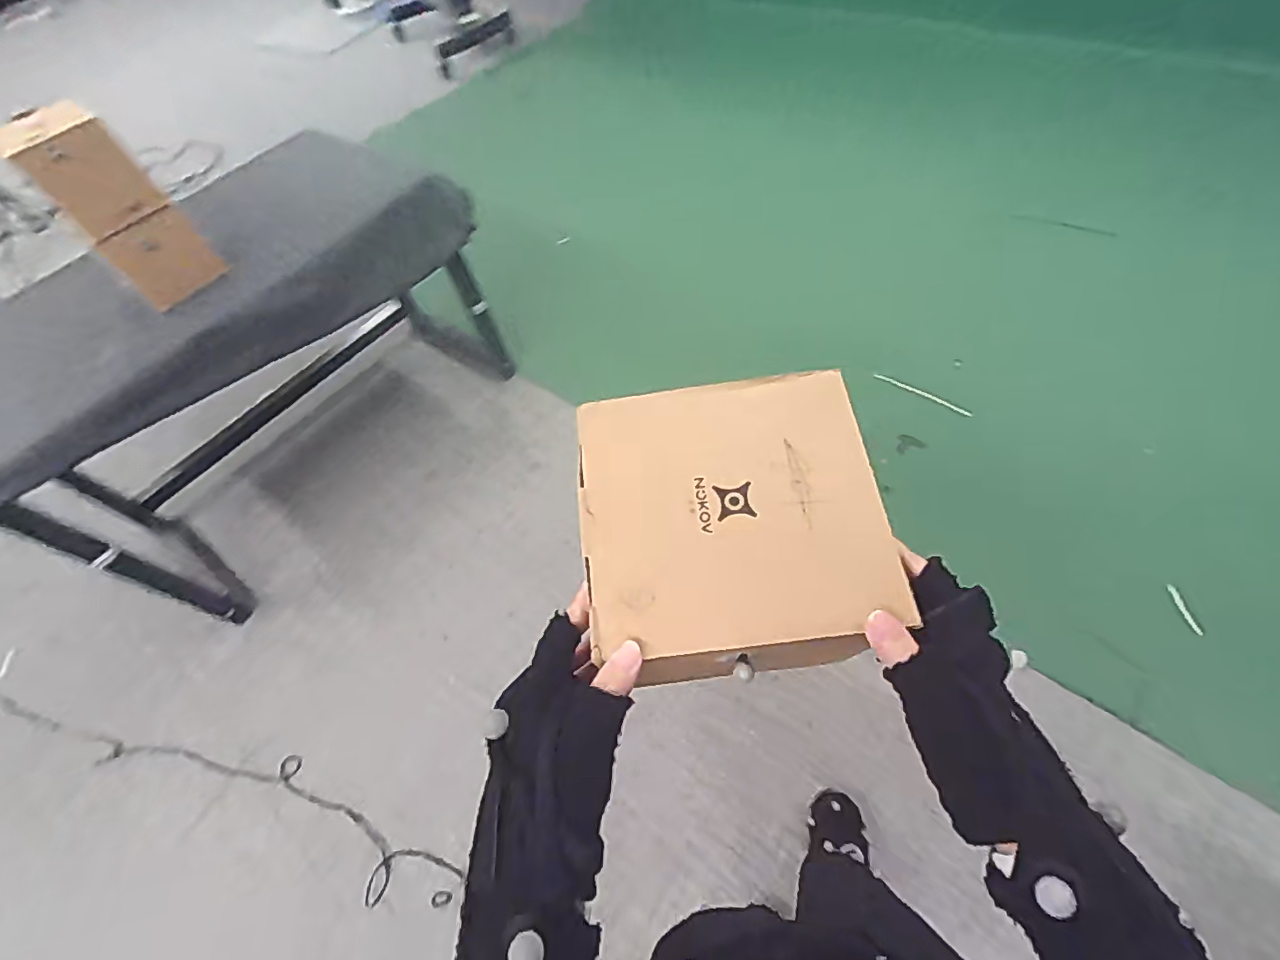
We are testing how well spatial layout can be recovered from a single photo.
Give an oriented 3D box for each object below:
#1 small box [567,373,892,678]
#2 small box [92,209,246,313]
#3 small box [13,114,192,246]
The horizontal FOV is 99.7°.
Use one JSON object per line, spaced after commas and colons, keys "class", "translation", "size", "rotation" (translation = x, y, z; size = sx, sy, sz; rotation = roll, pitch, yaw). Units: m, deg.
{"class": "small box", "translation": [0.051, 0.046, 0.404], "size": [0.179, 0.176, 0.168], "rotation": [-8, 65, 0]}
{"class": "small box", "translation": [-1.054, -0.508, 1.222], "size": [0.168, 0.176, 0.179], "rotation": [31, 66, 26]}
{"class": "small box", "translation": [-1.074, -0.603, 1.093], "size": [0.179, 0.176, 0.168], "rotation": [30, 64, 24]}
